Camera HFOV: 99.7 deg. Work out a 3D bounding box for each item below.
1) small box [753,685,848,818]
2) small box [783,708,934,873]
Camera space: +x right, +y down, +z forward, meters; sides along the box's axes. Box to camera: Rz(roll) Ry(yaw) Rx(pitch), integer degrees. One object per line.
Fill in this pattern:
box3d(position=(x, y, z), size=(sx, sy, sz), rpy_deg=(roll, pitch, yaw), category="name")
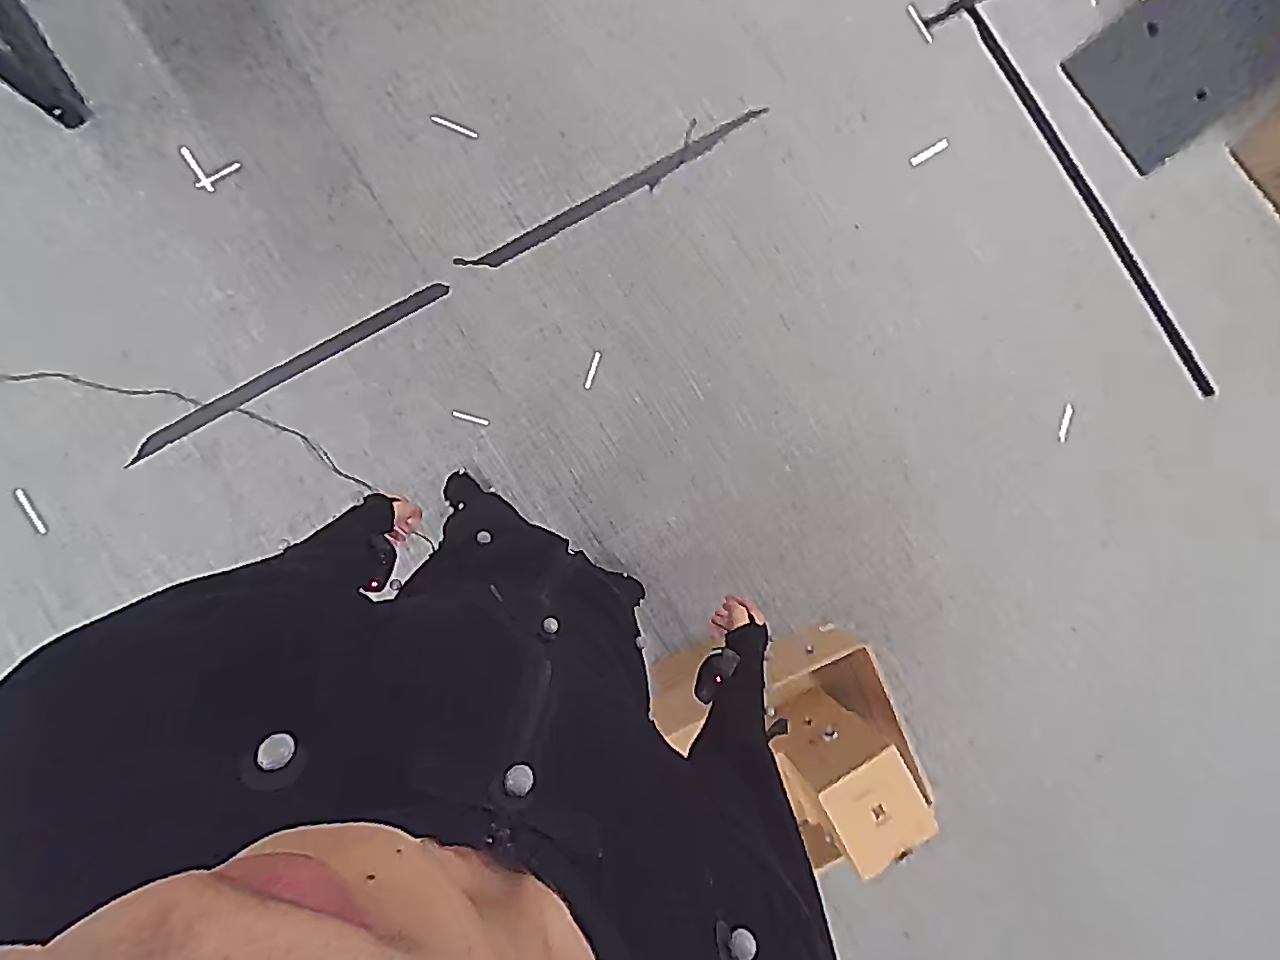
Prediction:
box3d(position=(0.375, 0.580, 1.184), size=(0.179, 0.176, 0.168), rpy_deg=(-26, 91, -6), category="small box")
box3d(position=(0.402, 0.572, 1.022), size=(0.168, 0.176, 0.179), rpy_deg=(-29, 92, -7), category="small box")
